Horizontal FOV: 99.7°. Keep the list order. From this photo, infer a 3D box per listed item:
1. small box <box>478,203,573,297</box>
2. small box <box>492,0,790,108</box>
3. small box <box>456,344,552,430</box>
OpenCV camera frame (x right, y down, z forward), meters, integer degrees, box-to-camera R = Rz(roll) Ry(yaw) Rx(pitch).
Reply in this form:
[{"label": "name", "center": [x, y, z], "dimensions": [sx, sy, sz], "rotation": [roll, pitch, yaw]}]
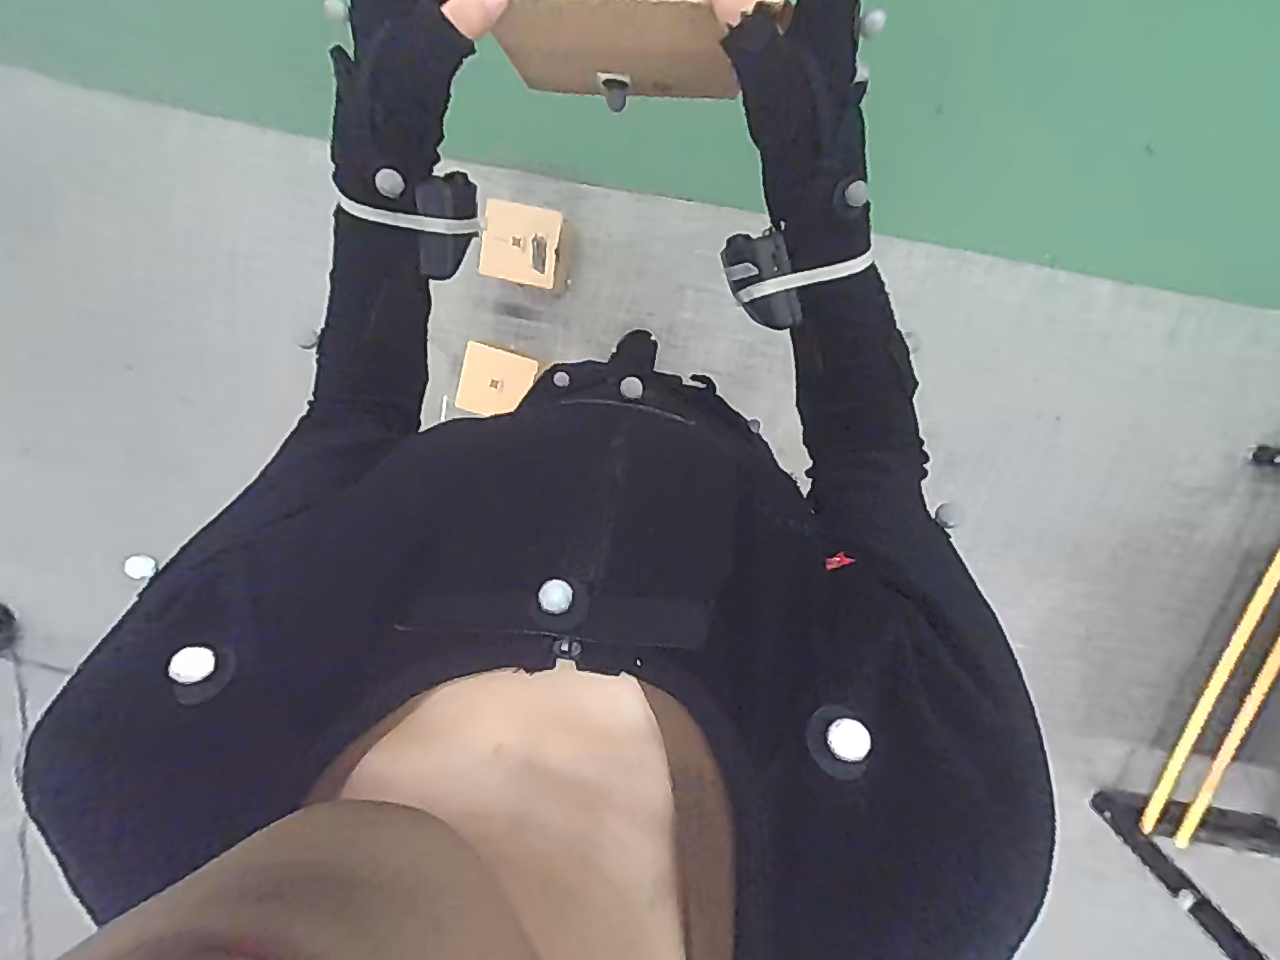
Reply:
[{"label": "small box", "center": [-0.265, -0.538, 1.290], "dimensions": [0.179, 0.176, 0.168], "rotation": [12, 104, 1]}, {"label": "small box", "center": [0.001, -0.353, 0.325], "dimensions": [0.168, 0.176, 0.179], "rotation": [3, 112, 0]}, {"label": "small box", "center": [-0.338, -0.238, 1.369], "dimensions": [0.179, 0.176, 0.168], "rotation": [16, 104, -2]}]
